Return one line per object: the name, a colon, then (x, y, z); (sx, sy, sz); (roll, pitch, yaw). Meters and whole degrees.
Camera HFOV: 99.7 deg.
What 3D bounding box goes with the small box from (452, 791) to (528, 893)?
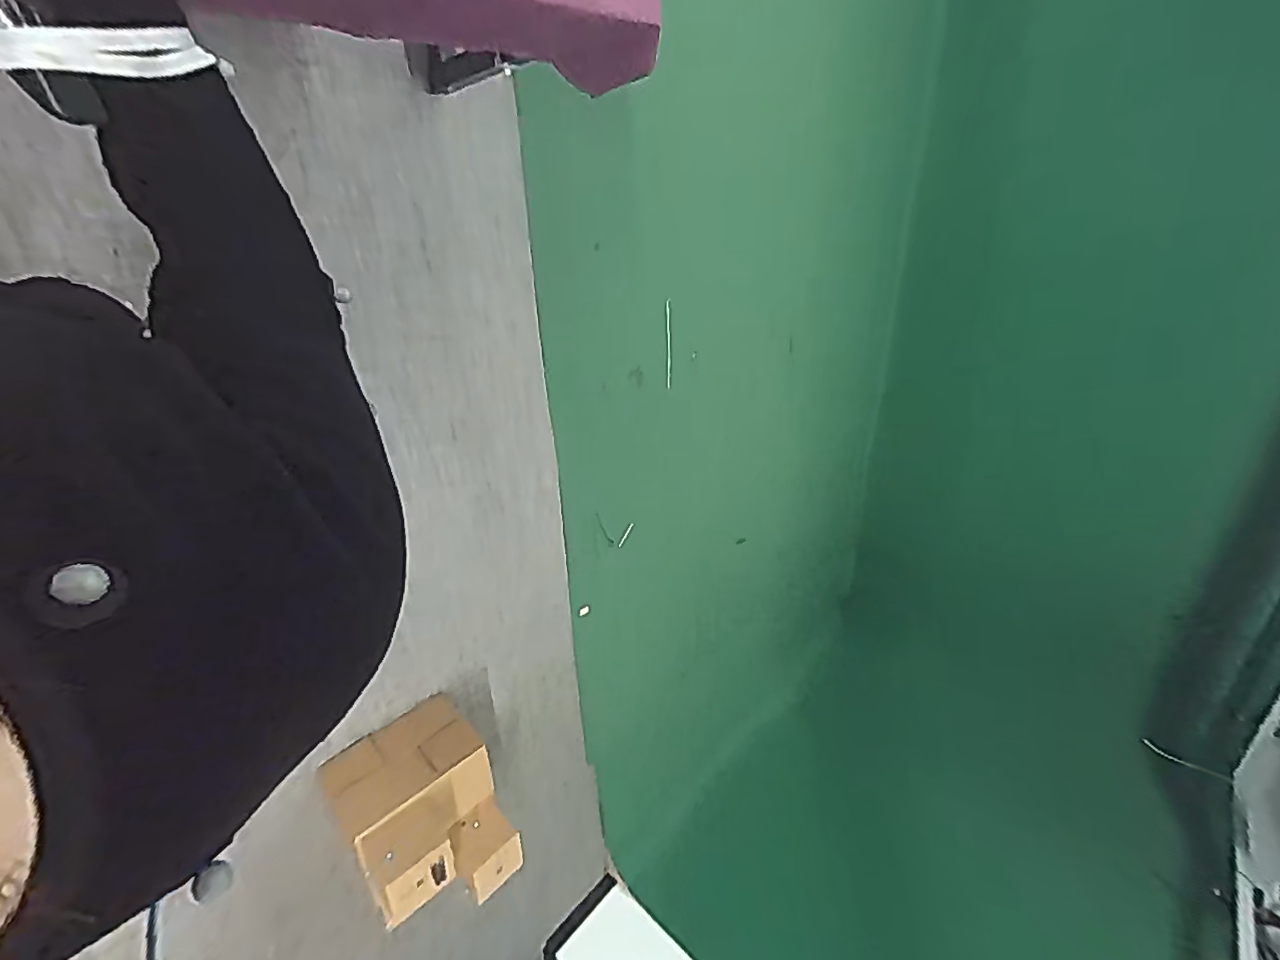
small box: (-0.478, 1.144, 1.724); (0.168, 0.176, 0.179); (-26, 127, -42)
